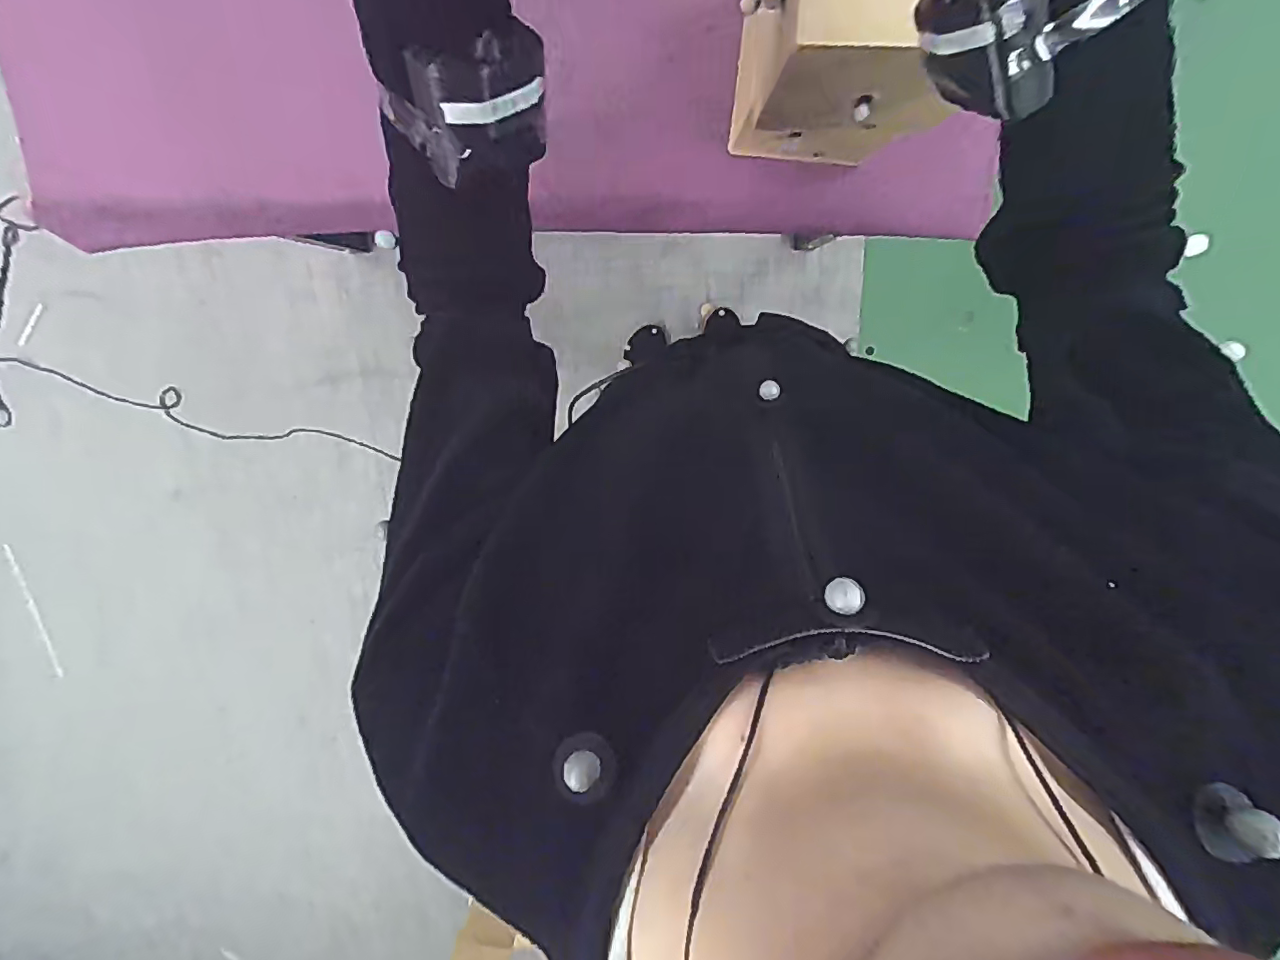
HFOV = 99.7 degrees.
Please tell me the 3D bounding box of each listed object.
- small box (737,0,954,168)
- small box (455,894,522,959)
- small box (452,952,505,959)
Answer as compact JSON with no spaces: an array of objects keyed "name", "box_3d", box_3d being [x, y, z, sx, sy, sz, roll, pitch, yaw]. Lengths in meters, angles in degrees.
[{"name":"small box","box_3d":[0.200,-0.444,0.560,0.168,0.176,0.179,6,106,0]},{"name":"small box","box_3d":[-0.481,1.455,1.691,0.168,0.176,0.179,18,106,-3]},{"name":"small box","box_3d":[-0.475,1.489,1.531,0.179,0.176,0.168,10,106,-2]}]
